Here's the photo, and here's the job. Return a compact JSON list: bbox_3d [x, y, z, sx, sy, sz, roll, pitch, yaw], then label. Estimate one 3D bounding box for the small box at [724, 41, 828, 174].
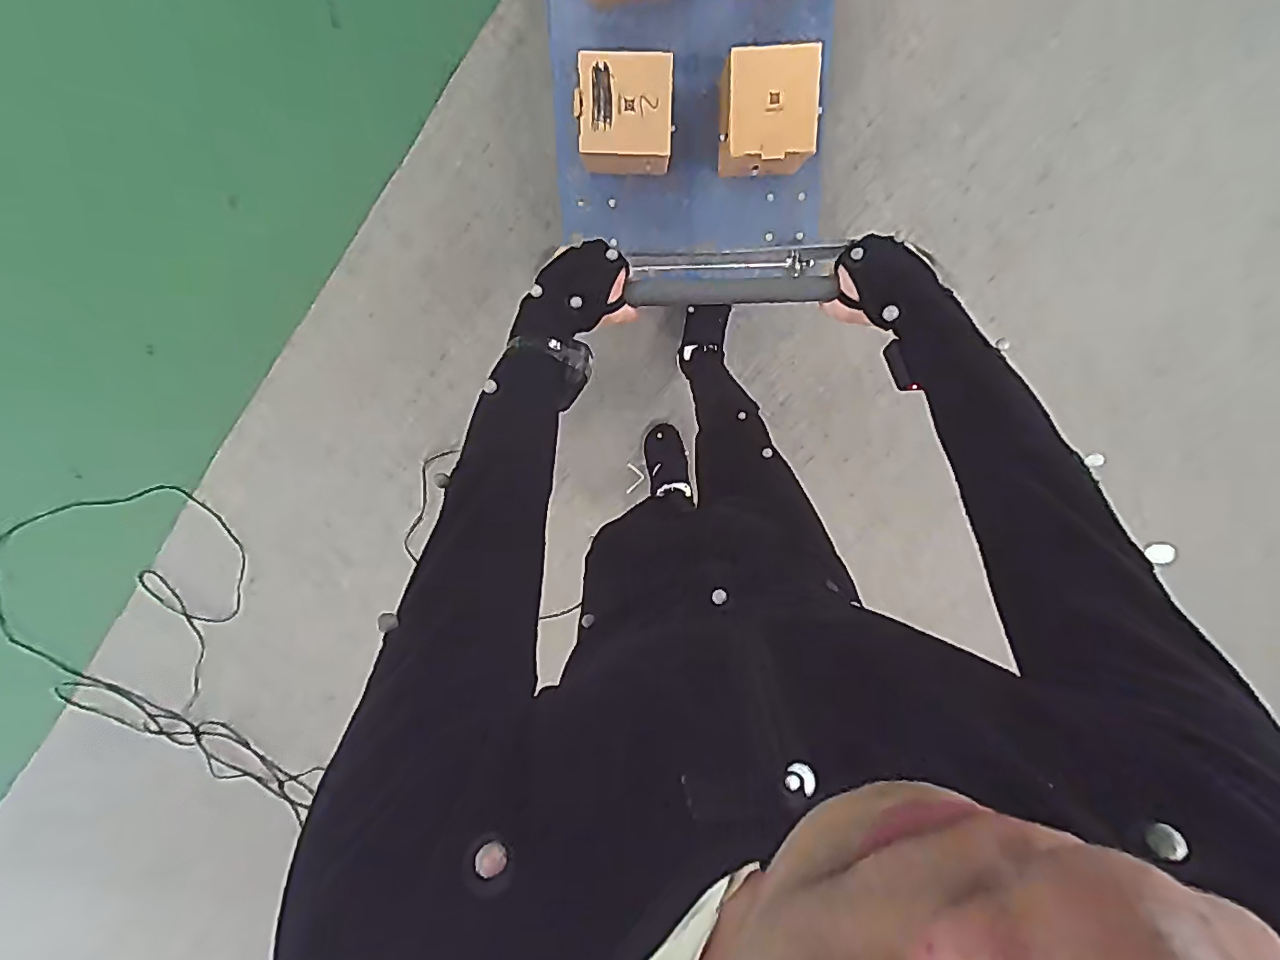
[{"bbox_3d":[0.260,-0.725,1.069,0.168,0.176,0.179,-2,109,2],"label":"small box"}]
